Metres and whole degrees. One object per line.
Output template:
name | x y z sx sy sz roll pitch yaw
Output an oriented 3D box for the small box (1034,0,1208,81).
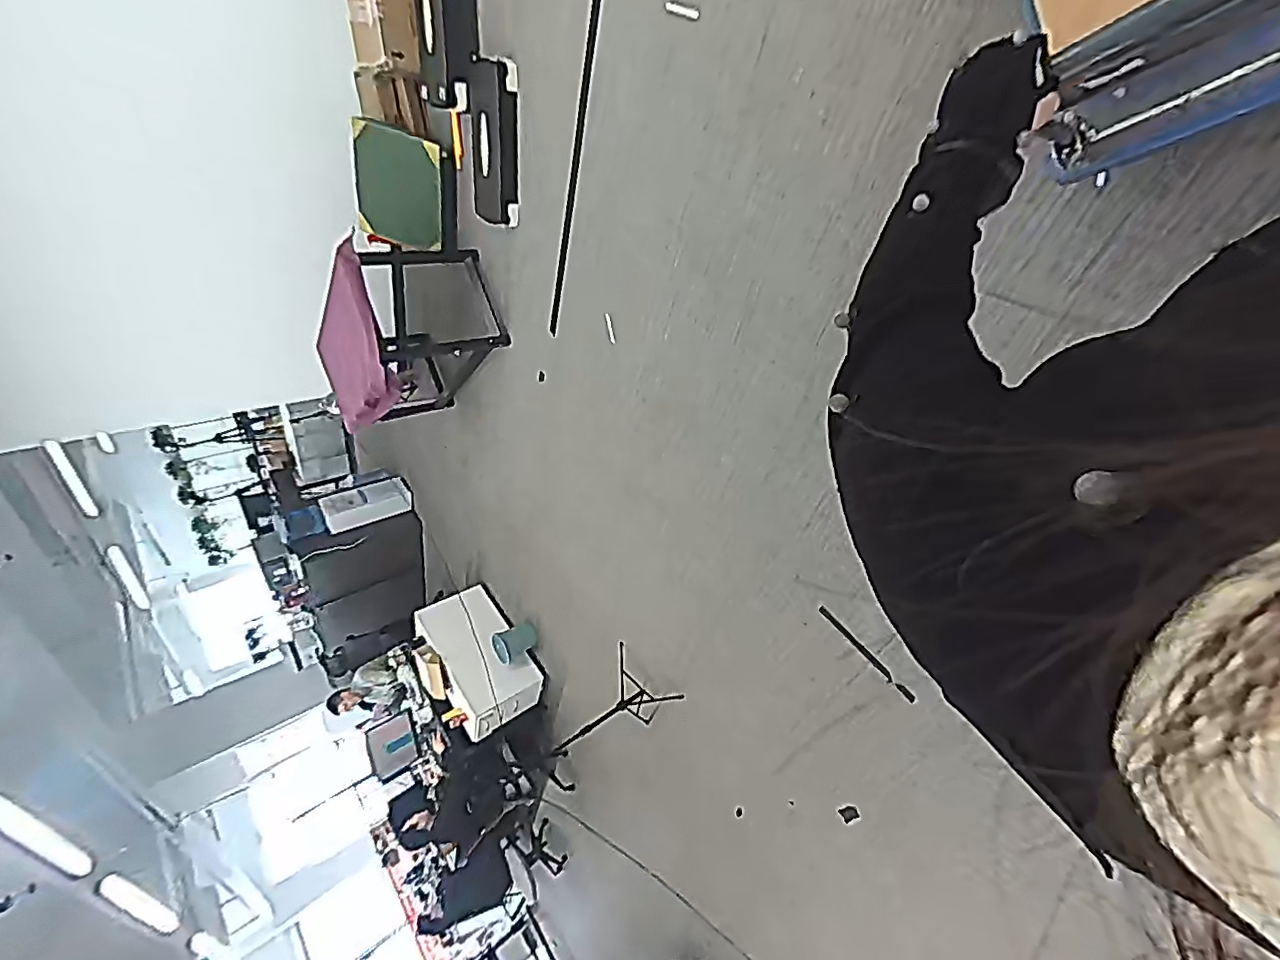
small box | 0.721 -0.744 0.816 0.168 0.176 0.179 -12 97 51
